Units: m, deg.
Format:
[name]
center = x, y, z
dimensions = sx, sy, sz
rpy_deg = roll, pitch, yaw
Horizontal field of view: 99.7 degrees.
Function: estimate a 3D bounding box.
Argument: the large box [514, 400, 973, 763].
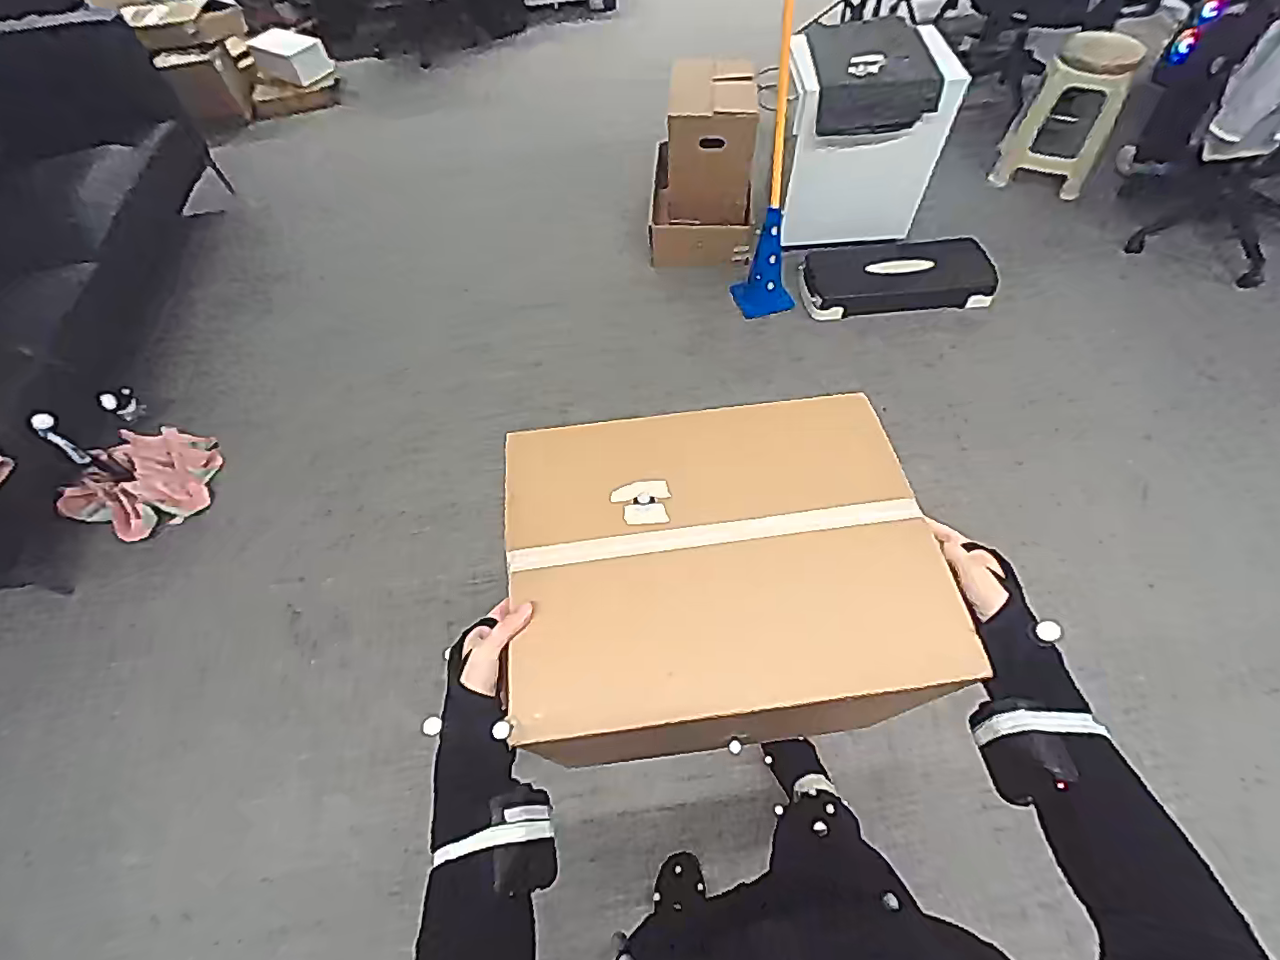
[large box]
center = 0.084, 0.140, 0.665
dimensions = 0.408, 0.320, 0.320
rpy_deg = -8, 58, -2
